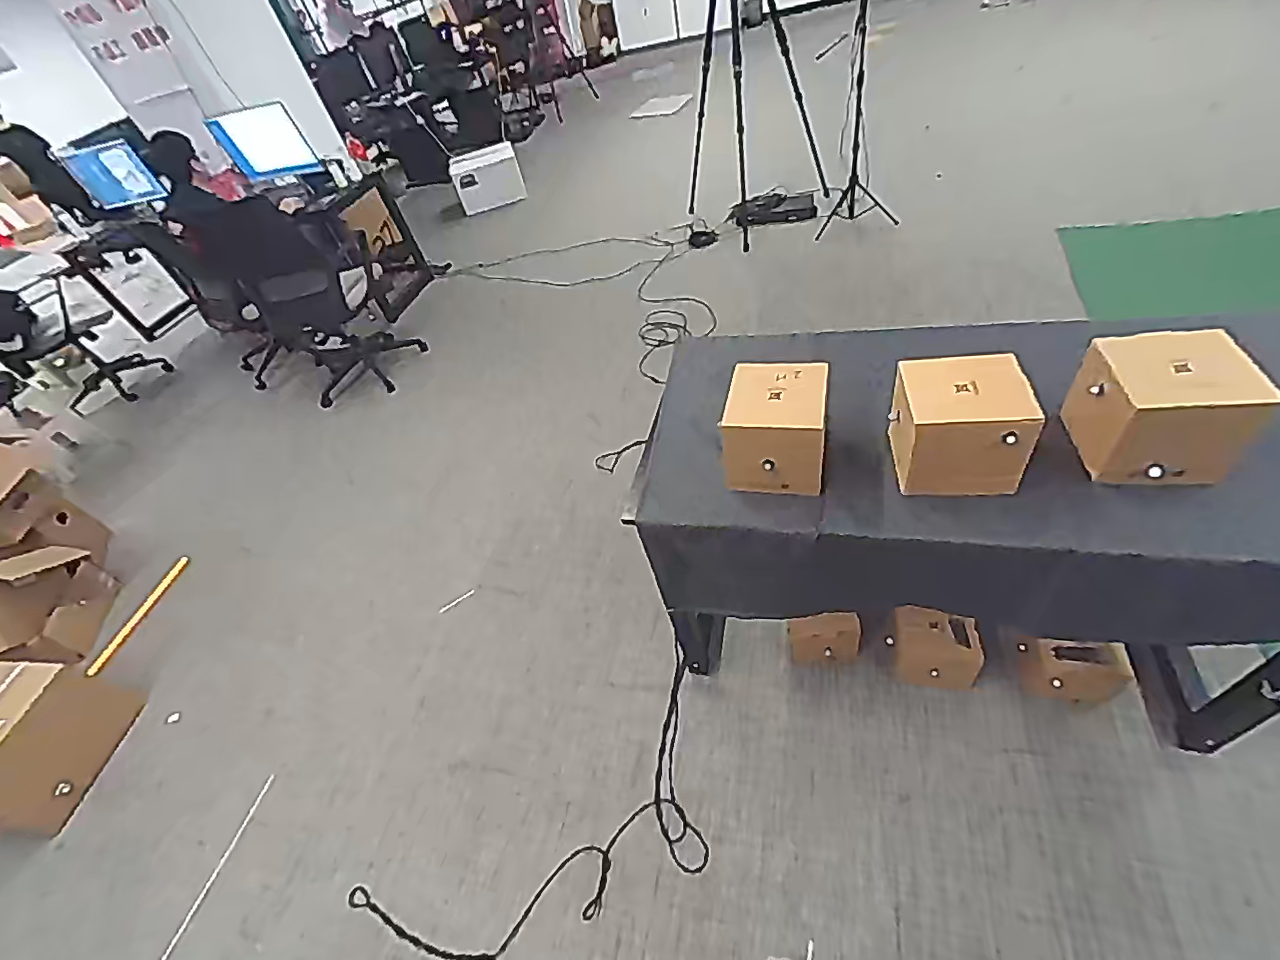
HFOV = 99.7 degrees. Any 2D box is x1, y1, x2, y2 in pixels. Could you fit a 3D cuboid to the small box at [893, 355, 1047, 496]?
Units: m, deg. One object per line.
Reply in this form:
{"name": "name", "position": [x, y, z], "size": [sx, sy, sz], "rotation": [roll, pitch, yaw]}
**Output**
{"name": "small box", "position": [0.529, -0.086, 0.902], "size": [0.179, 0.176, 0.168], "rotation": [-1, 48, 15]}

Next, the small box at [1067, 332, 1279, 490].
{"name": "small box", "position": [0.804, -0.105, 0.838], "size": [0.168, 0.176, 0.179], "rotation": [0, 48, 17]}

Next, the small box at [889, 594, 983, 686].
{"name": "small box", "position": [0.749, 0.413, 1.385], "size": [0.179, 0.176, 0.168], "rotation": [0, 48, 18]}

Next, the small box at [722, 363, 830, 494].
{"name": "small box", "position": [0.252, -0.092, 0.983], "size": [0.168, 0.176, 0.179], "rotation": [5, 49, 19]}
